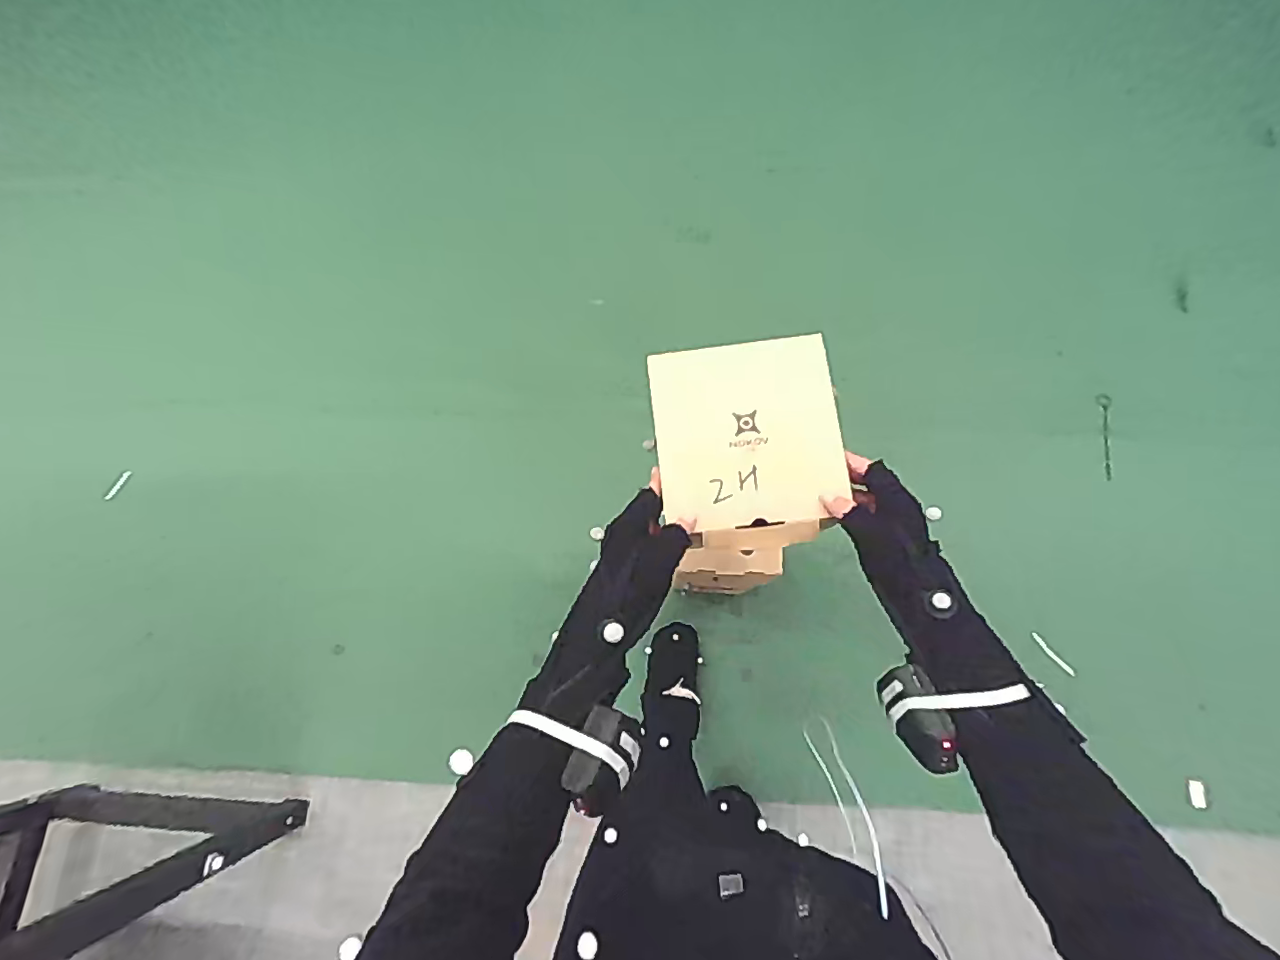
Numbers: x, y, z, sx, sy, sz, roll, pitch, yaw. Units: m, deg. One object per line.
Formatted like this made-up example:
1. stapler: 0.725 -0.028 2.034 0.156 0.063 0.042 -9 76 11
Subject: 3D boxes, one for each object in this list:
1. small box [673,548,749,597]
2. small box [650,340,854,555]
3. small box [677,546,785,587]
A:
1. small box: 0.164 0.175 1.257 0.168 0.176 0.179 4 75 4
2. small box: 0.101 -0.021 0.563 0.168 0.176 0.179 -7 78 3
3. small box: 0.151 0.089 0.941 0.168 0.176 0.179 1 75 3
